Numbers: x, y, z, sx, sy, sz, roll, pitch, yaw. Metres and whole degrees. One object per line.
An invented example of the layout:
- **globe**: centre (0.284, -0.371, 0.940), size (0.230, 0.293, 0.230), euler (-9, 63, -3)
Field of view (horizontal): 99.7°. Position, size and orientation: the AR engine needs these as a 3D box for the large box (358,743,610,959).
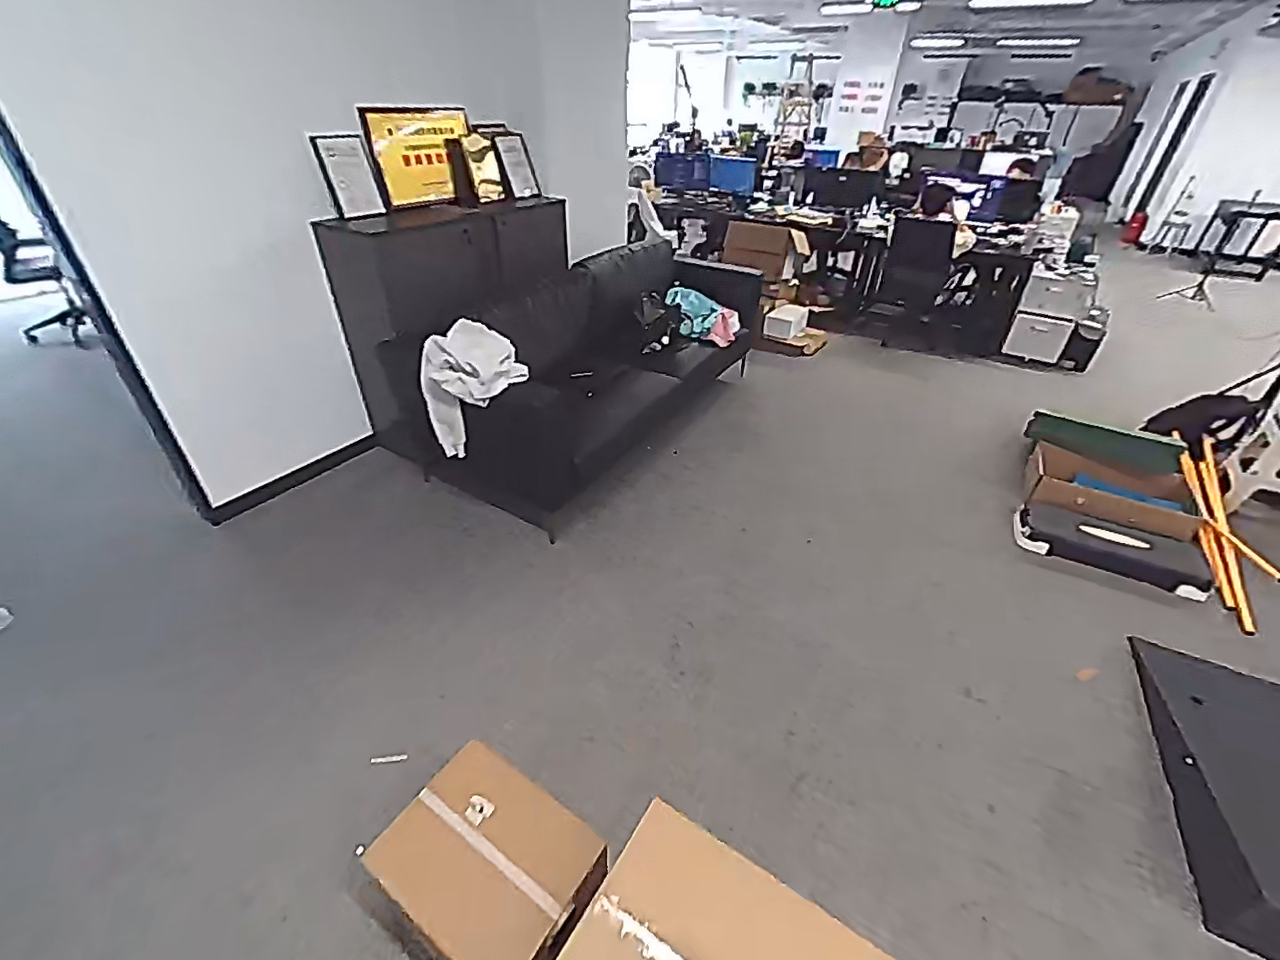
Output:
- **large box**: centre (-0.315, 0.877, 1.176), size (0.408, 0.320, 0.320), euler (21, 38, 27)
